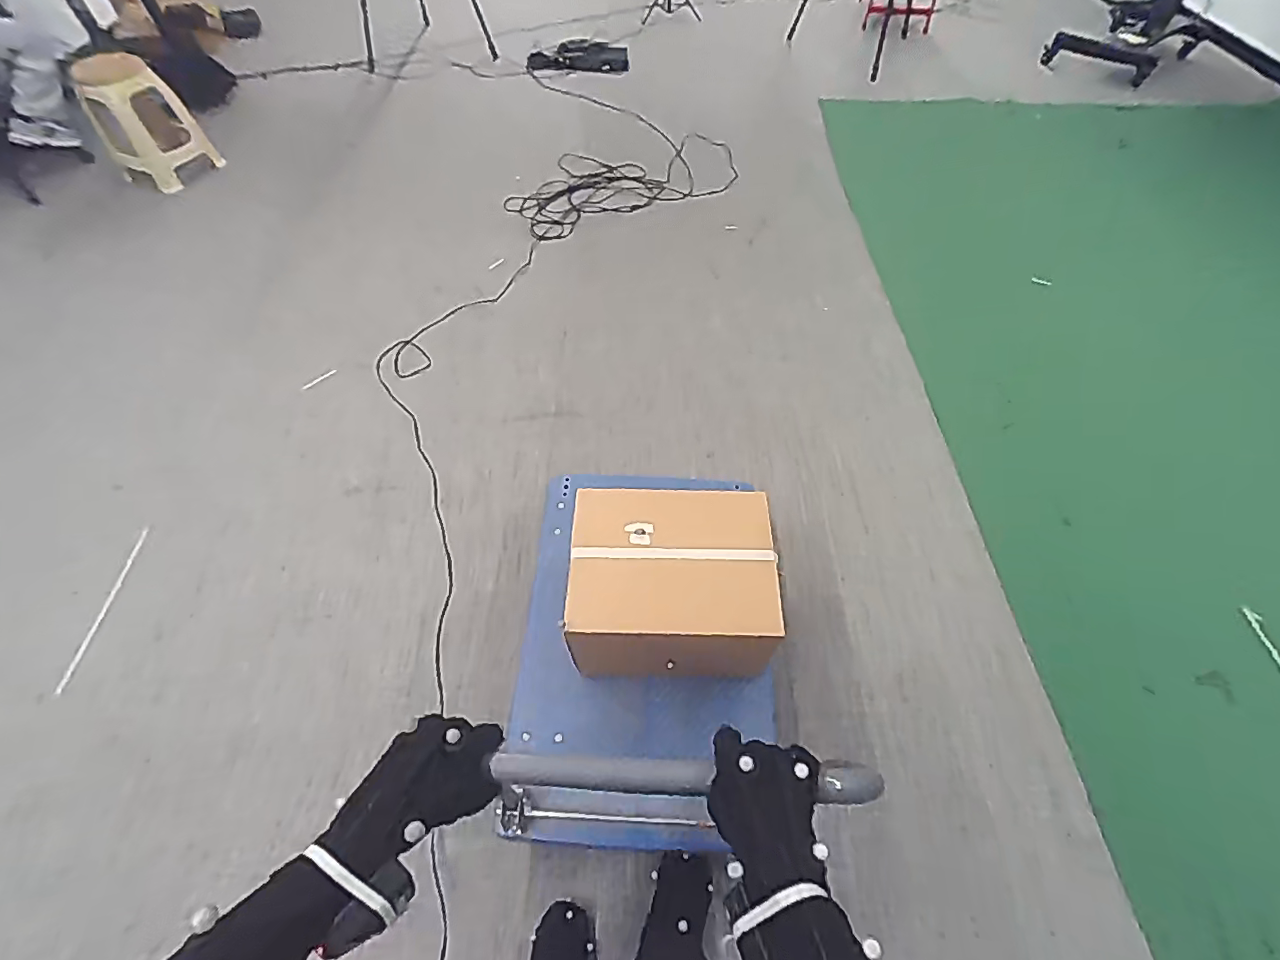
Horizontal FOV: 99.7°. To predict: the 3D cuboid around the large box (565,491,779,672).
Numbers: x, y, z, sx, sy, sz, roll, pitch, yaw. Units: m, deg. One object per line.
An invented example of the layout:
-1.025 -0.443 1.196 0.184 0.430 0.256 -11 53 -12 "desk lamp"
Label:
0.066 0.235 1.203 0.408 0.320 0.320 0 56 2 "large box"
